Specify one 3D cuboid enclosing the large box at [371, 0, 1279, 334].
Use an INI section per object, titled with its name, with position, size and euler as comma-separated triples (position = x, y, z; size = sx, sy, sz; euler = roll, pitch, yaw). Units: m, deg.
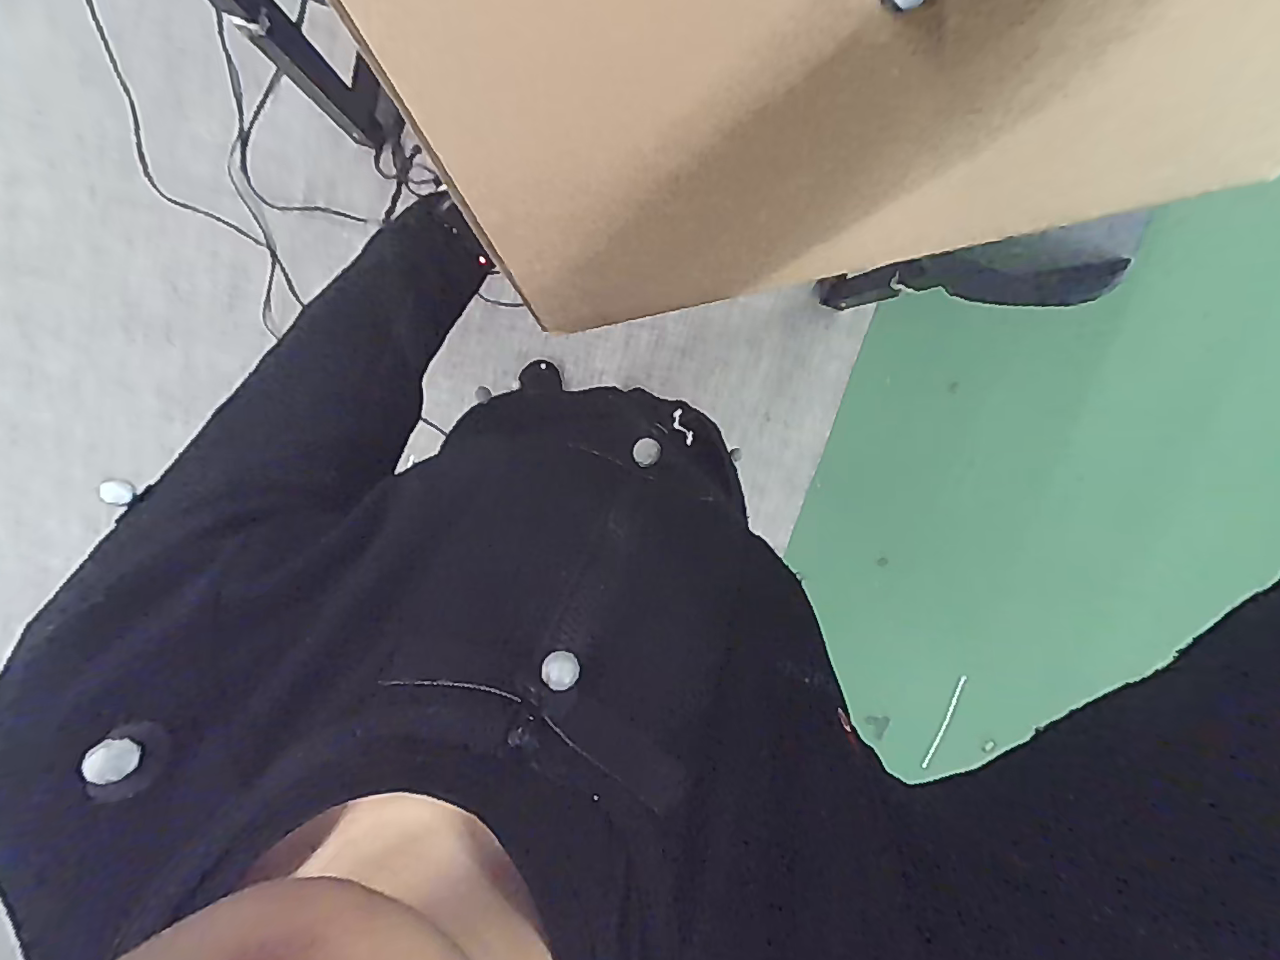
[large box]
position = 0.094, -0.329, 0.270
size = 0.408, 0.320, 0.320
euler = -11, 62, 14
